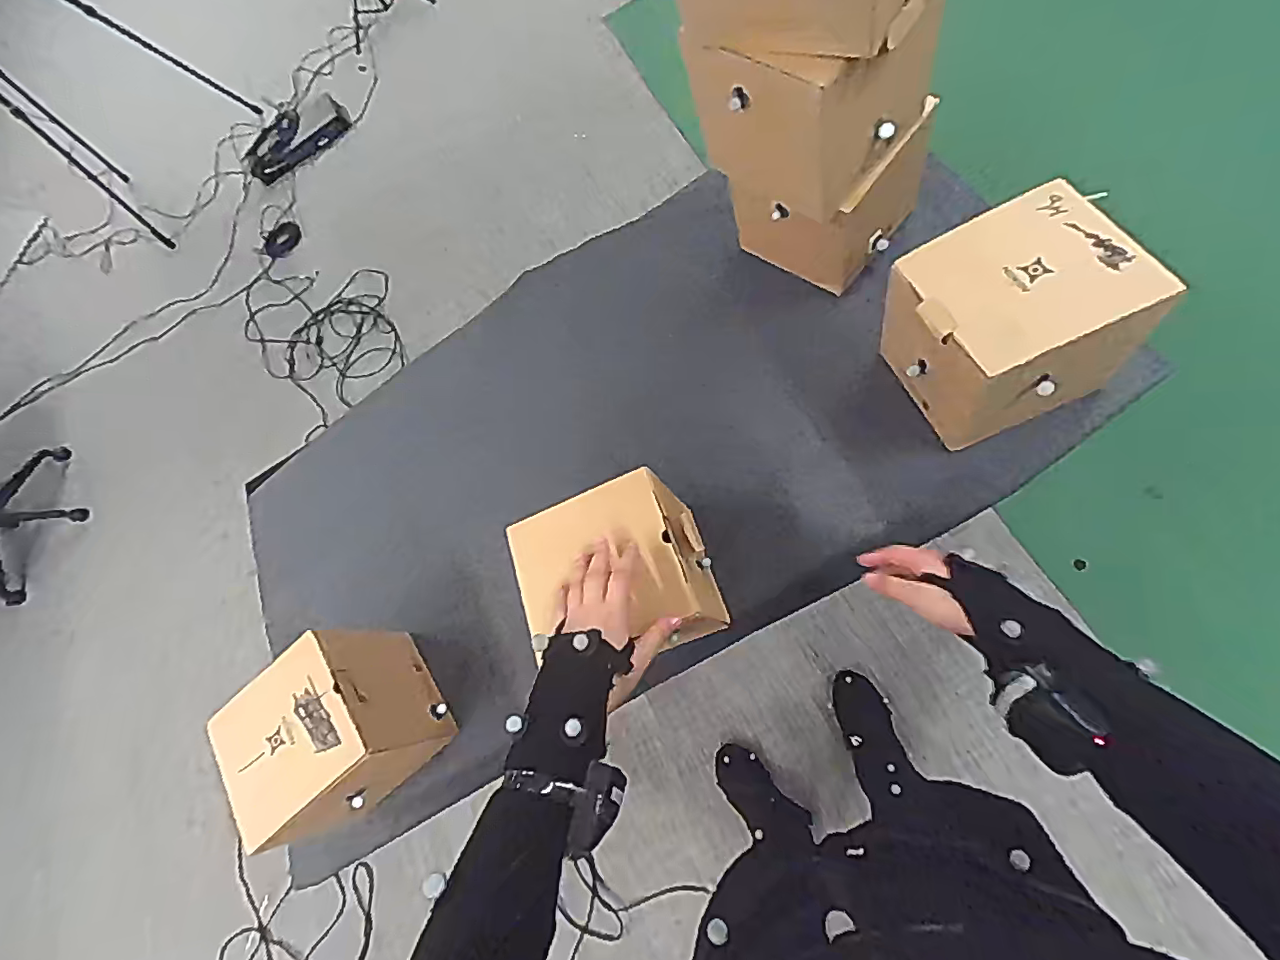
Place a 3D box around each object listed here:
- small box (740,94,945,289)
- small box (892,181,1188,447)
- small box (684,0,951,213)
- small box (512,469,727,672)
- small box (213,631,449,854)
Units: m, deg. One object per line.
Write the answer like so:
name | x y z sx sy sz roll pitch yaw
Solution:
small box | 0.245 -0.380 0.695 0.179 0.176 0.168 38 90 22
small box | 0.390 -0.160 0.574 0.179 0.176 0.168 -26 63 10
small box | 0.176 -0.412 0.547 0.179 0.176 0.168 43 93 24
small box | -0.018 0.115 0.626 0.179 0.176 0.168 -24 66 10
small box | -0.368 0.308 0.676 0.179 0.176 0.168 -41 67 3
